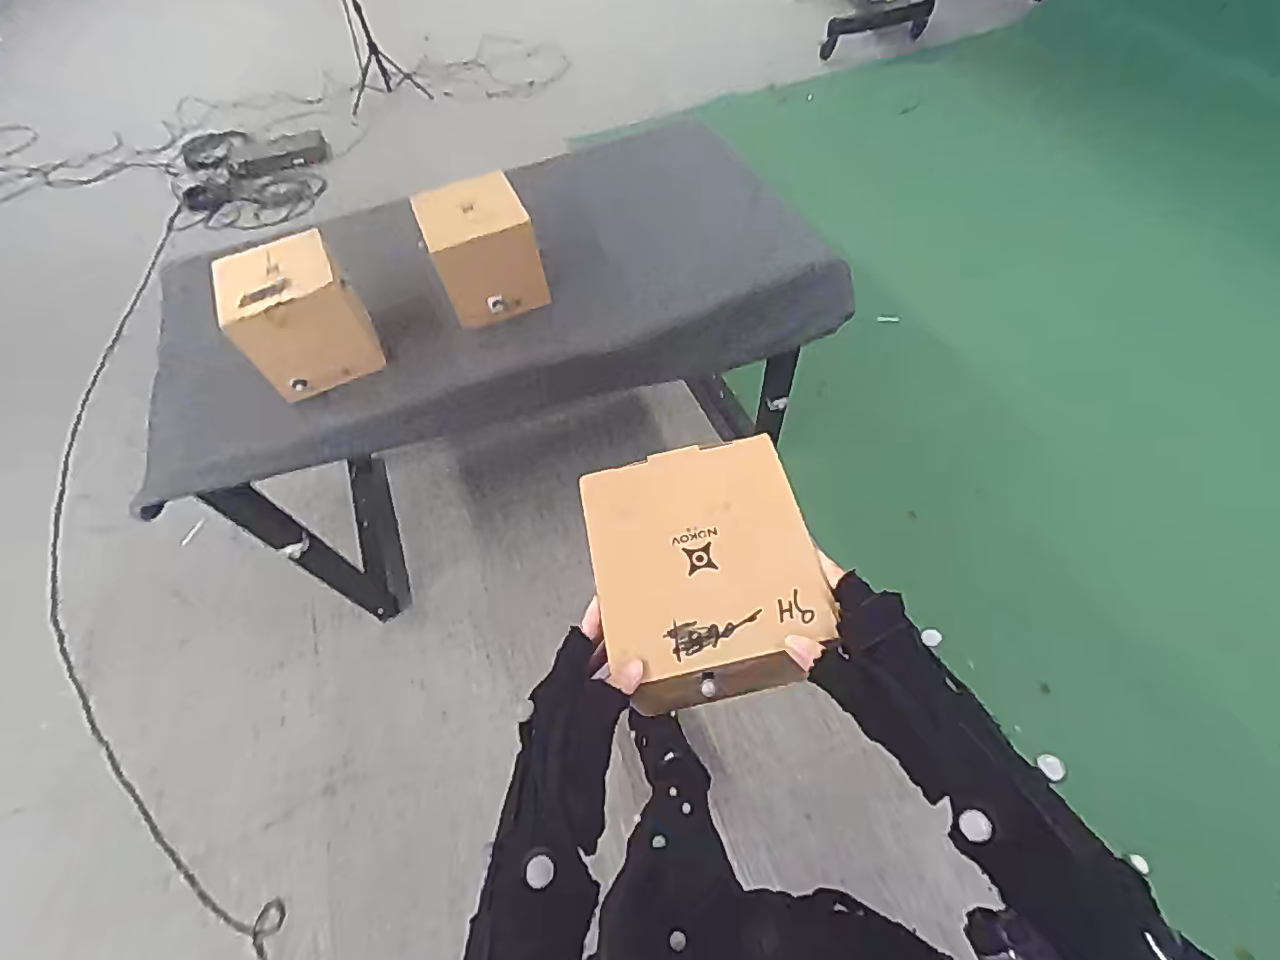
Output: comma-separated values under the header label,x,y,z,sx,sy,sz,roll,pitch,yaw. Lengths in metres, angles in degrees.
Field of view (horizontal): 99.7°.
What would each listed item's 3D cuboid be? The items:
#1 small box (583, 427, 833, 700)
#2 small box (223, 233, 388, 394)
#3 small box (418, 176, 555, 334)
label,x,y,z,sx,sy,sz,roll,pitch,yaw
small box,0.053,0.083,0.491,0.168,0.176,0.179,-13,59,2
small box,-0.539,-0.263,0.886,0.168,0.176,0.179,-25,57,-12
small box,-0.265,-0.393,0.954,0.168,0.176,0.179,-23,60,-9
